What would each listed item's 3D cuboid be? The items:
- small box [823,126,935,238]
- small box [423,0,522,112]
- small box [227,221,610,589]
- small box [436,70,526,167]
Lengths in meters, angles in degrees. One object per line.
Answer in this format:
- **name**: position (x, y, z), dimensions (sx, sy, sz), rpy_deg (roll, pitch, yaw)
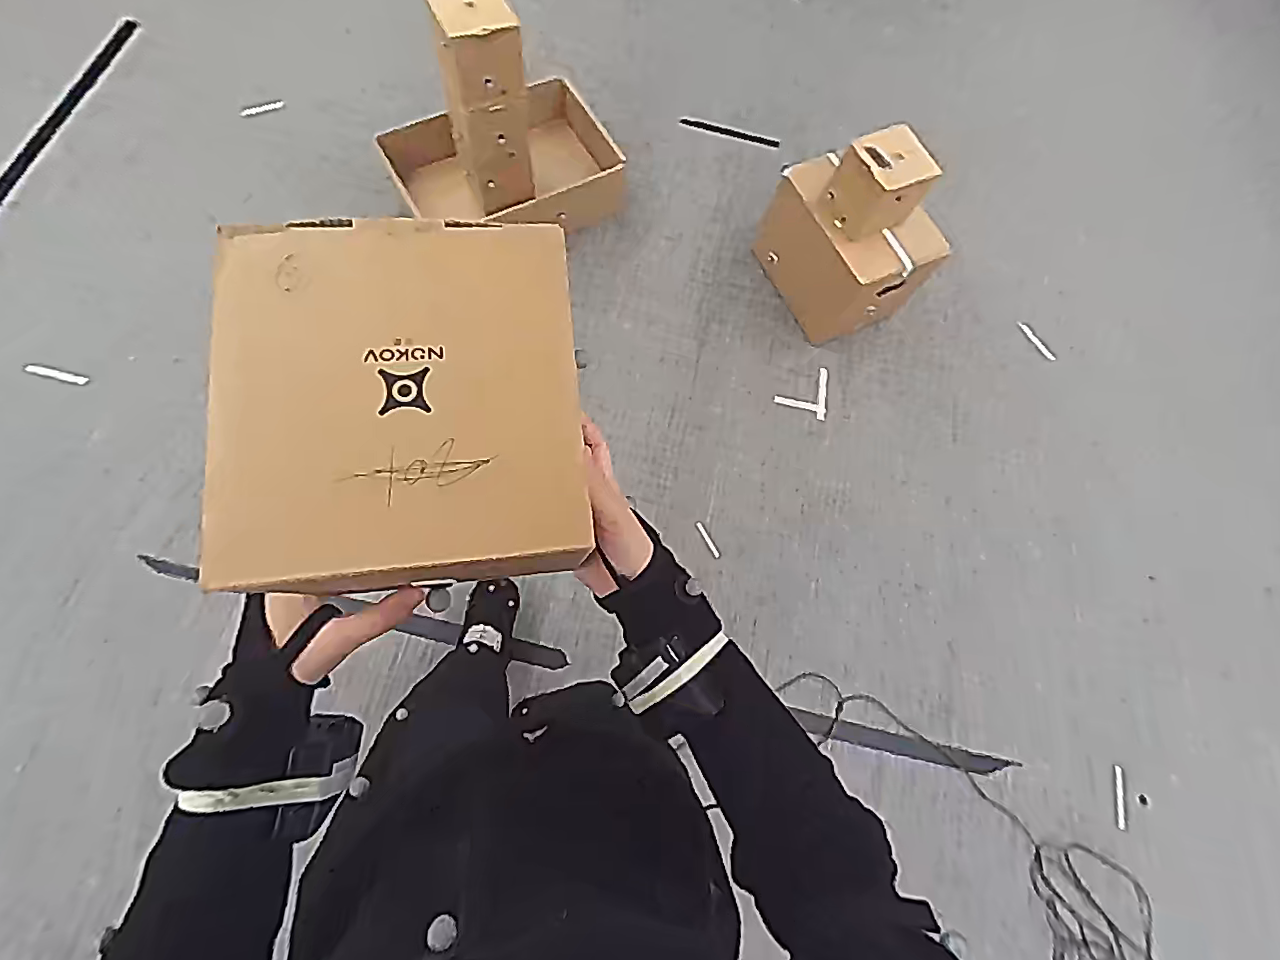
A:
- **small box**: position (0.596, -0.753, 1.383), dimensions (0.179, 0.176, 0.168), rpy_deg (-24, 77, -14)
- **small box**: position (-0.396, -1.031, 1.292), dimensions (0.168, 0.176, 0.179), rpy_deg (-26, 76, -14)
- **small box**: position (-0.116, -0.030, 0.336), dimensions (0.168, 0.176, 0.179), rpy_deg (-5, 79, -10)
- **small box**: position (-0.416, -0.970, 1.443), dimensions (0.168, 0.176, 0.179), rpy_deg (-25, 77, -14)
